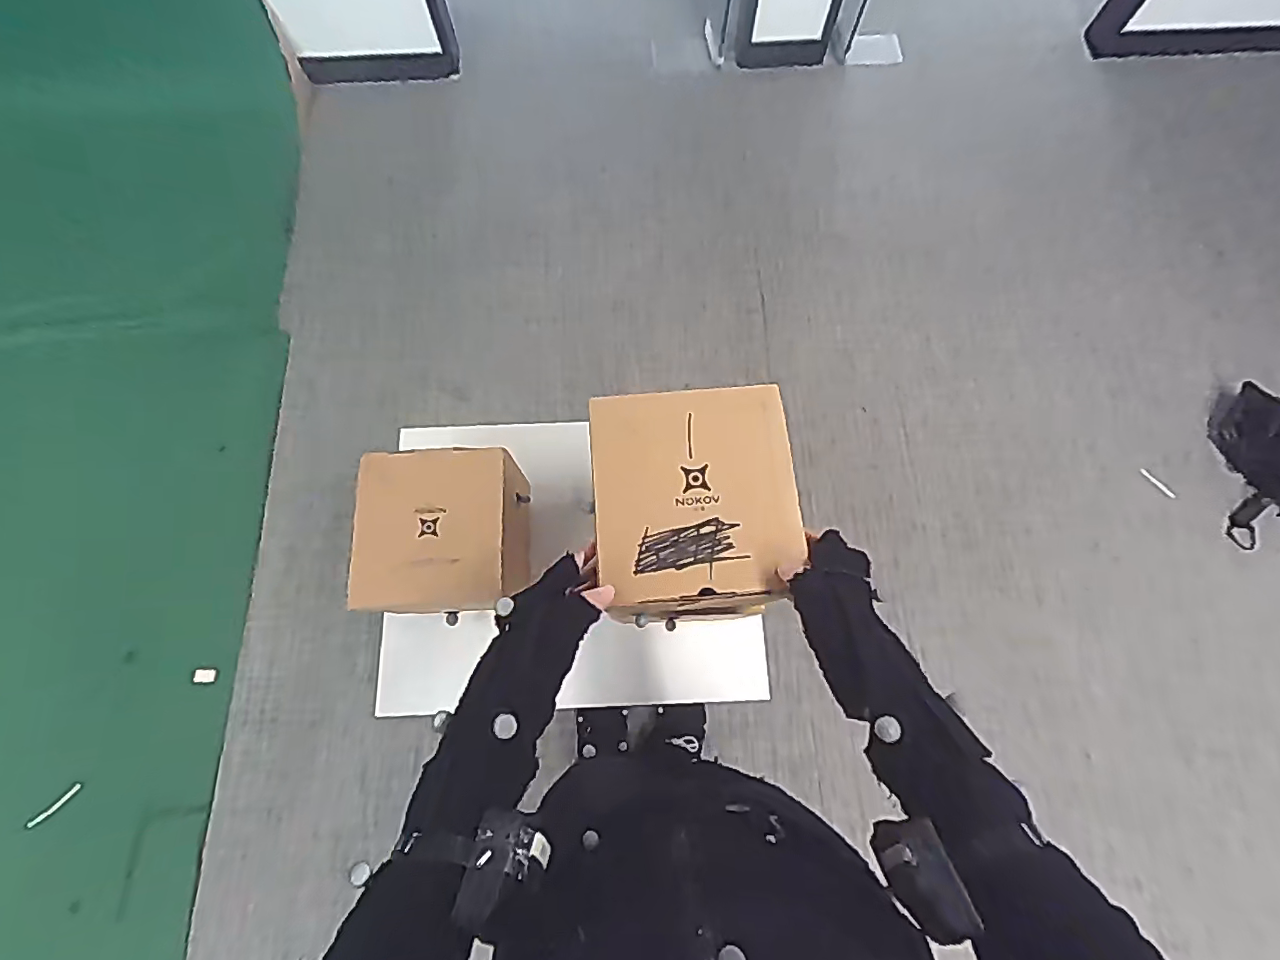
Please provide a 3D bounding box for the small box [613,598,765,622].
[{"bbox_3d":[0.049,0.081,0.672,0.168,0.176,0.179,-3,74,0],"label":"small box"}]

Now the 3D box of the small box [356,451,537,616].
[{"bbox_3d":[-0.228,0.075,0.679,0.168,0.176,0.179,-5,75,0],"label":"small box"}]

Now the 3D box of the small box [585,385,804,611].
[{"bbox_3d":[0.042,0.030,0.515,0.168,0.176,0.179,-5,73,-1],"label":"small box"}]
